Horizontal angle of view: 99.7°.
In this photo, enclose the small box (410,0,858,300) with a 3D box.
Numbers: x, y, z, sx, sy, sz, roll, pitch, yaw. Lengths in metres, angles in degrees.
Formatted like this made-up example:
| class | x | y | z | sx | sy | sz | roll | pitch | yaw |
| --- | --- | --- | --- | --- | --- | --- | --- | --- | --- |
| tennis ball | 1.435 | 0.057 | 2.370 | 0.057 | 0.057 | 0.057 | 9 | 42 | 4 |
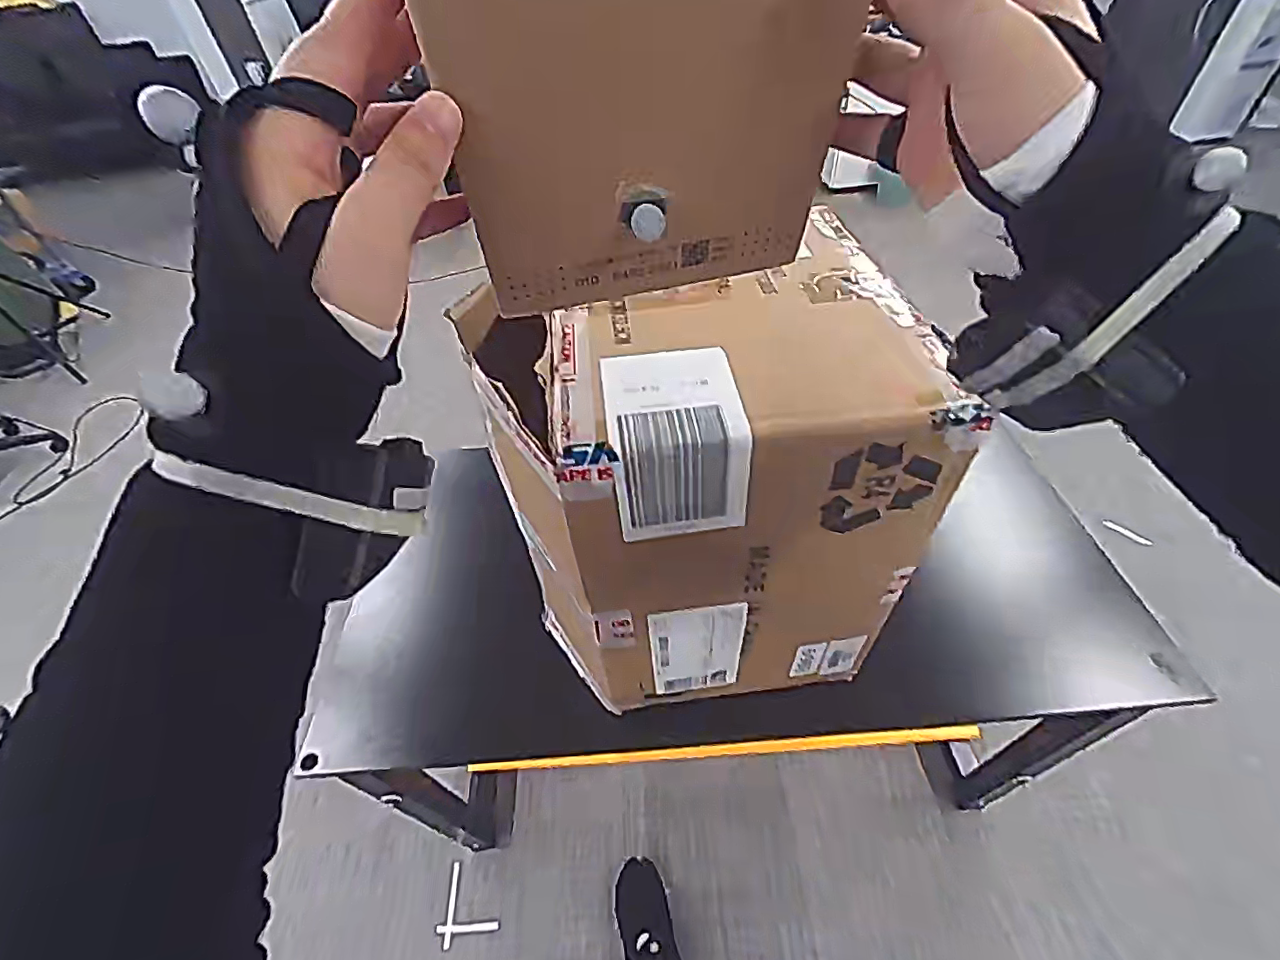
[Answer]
| class | x | y | z | sx | sy | sz | roll | pitch | yaw |
| --- | --- | --- | --- | --- | --- | --- | --- | --- | --- |
| small box | -0.016 | -0.220 | 0.262 | 0.168 | 0.176 | 0.179 | -13 | 62 | -6 |
